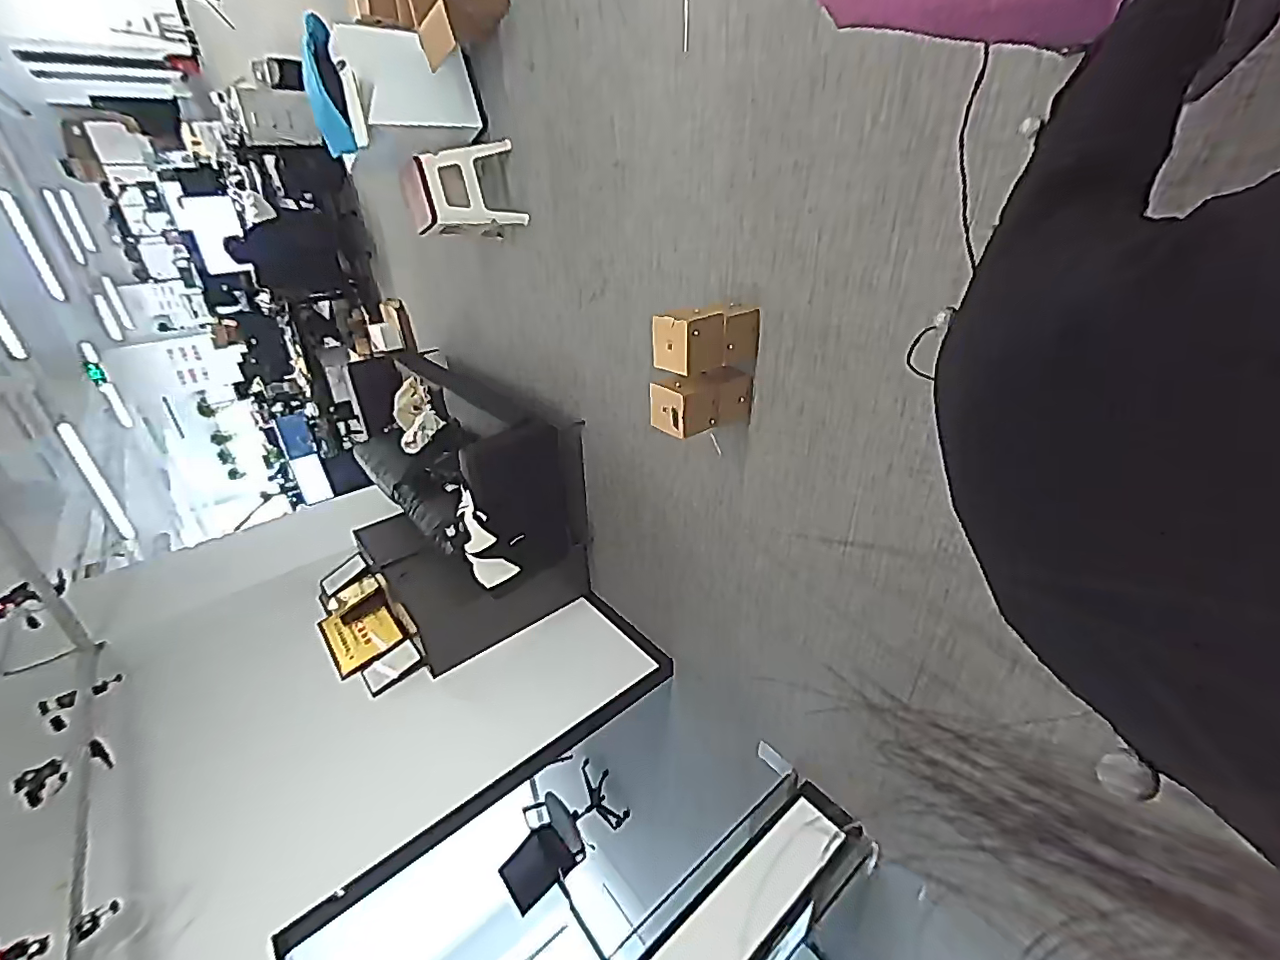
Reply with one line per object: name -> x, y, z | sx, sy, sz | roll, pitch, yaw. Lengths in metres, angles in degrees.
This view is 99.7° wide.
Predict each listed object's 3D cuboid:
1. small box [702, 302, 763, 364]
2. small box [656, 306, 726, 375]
small box -> 0.299, -0.514, 1.873 | 0.179, 0.176, 0.168 | 29, 133, 44
small box -> 0.170, -0.464, 1.785 | 0.168, 0.176, 0.179 | 27, 130, 44
